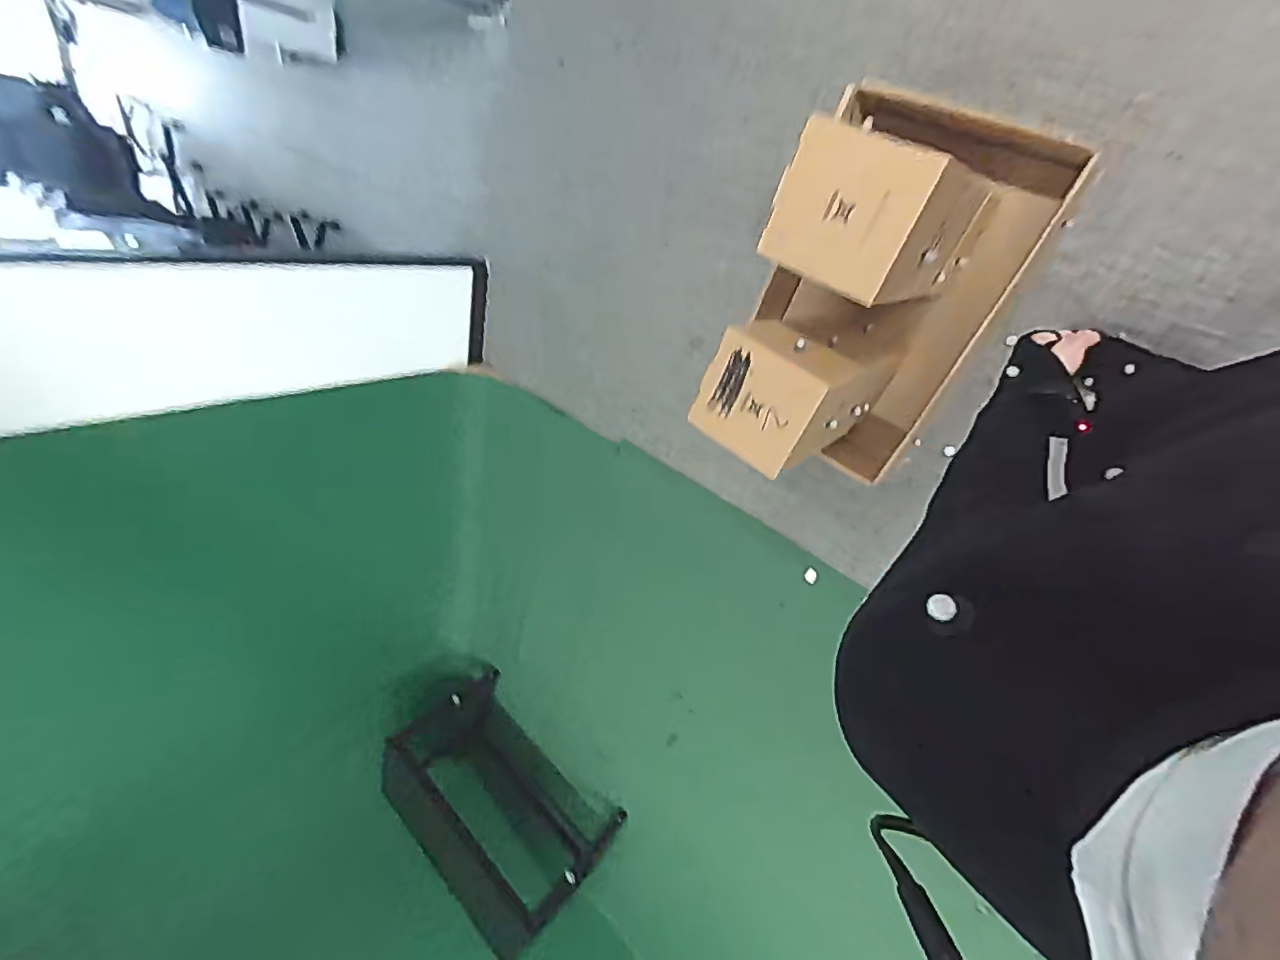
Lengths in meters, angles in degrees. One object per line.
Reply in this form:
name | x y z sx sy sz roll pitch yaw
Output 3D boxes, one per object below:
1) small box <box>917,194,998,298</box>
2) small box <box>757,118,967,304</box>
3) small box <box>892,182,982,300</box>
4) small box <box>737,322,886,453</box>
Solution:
small box | 0.497 -0.443 0.961 0.179 0.176 0.168 38 127 24
small box | 0.295 -0.349 0.721 0.179 0.176 0.168 38 127 23
small box | 0.394 -0.398 0.842 0.179 0.176 0.168 38 127 25
small box | 0.317 -0.179 0.989 0.179 0.176 0.168 38 126 23
